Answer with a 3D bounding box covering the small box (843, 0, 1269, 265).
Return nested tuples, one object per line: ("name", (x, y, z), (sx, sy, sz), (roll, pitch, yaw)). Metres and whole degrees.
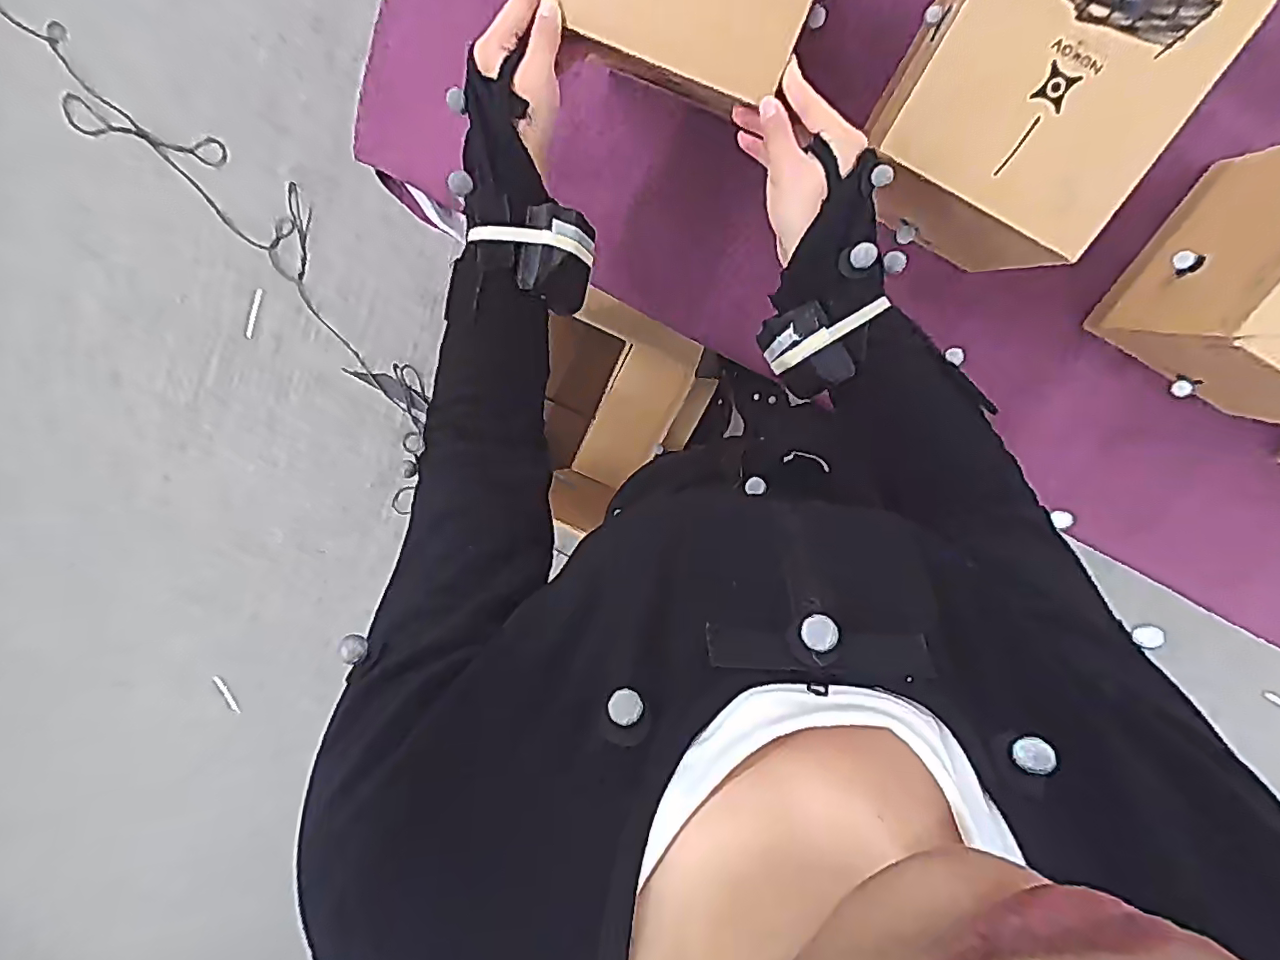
("small box", (0.289, -0.294, 0.432), (0.168, 0.176, 0.179), (29, 110, -3))
